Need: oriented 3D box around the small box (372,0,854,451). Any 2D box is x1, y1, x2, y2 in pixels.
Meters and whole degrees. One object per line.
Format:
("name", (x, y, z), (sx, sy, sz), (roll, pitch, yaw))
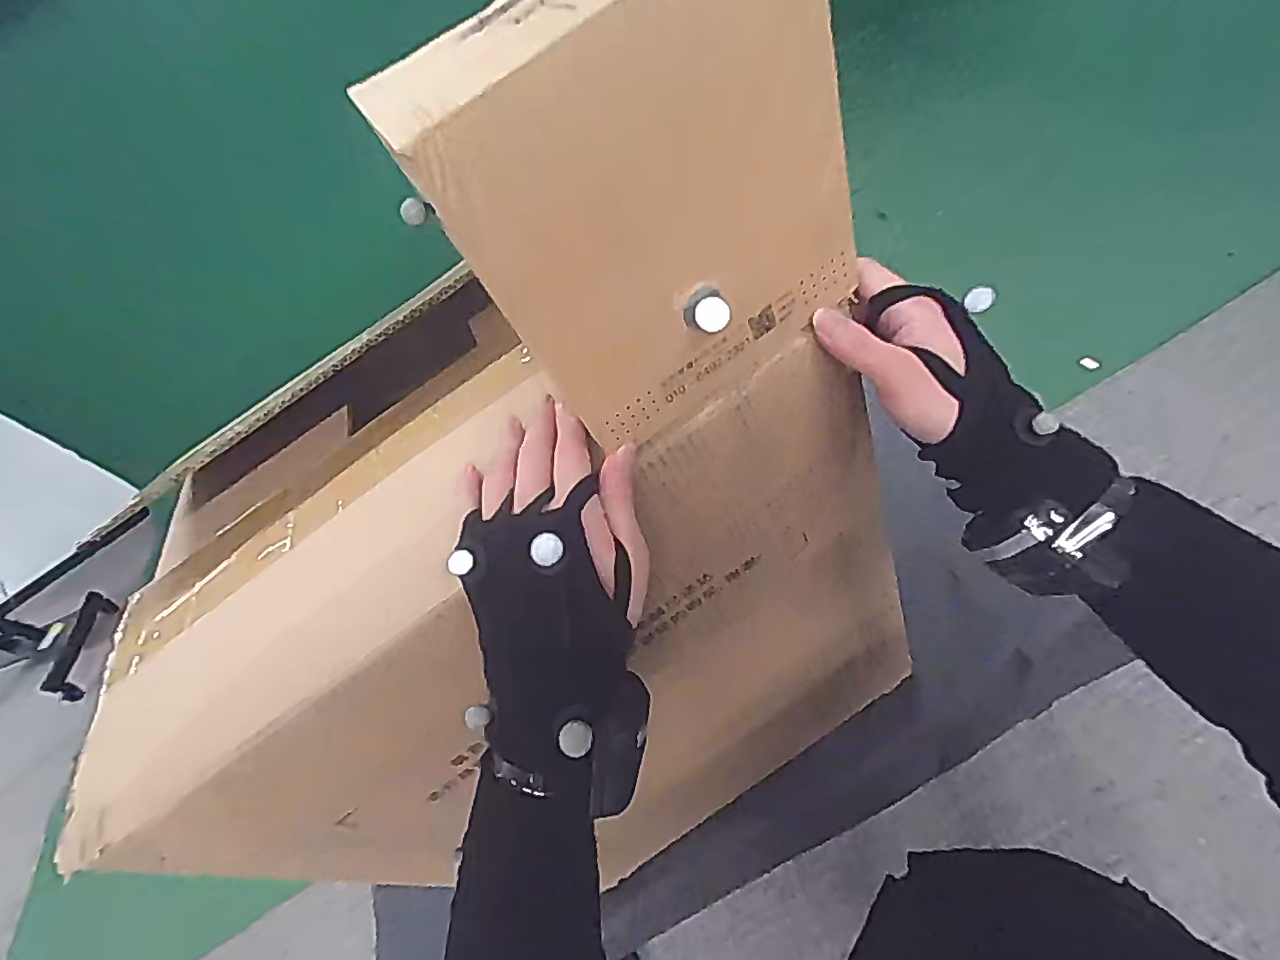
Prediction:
("small box", (-0.011, -0.148, 0.292), (0.168, 0.176, 0.179), (-35, 47, -1))
